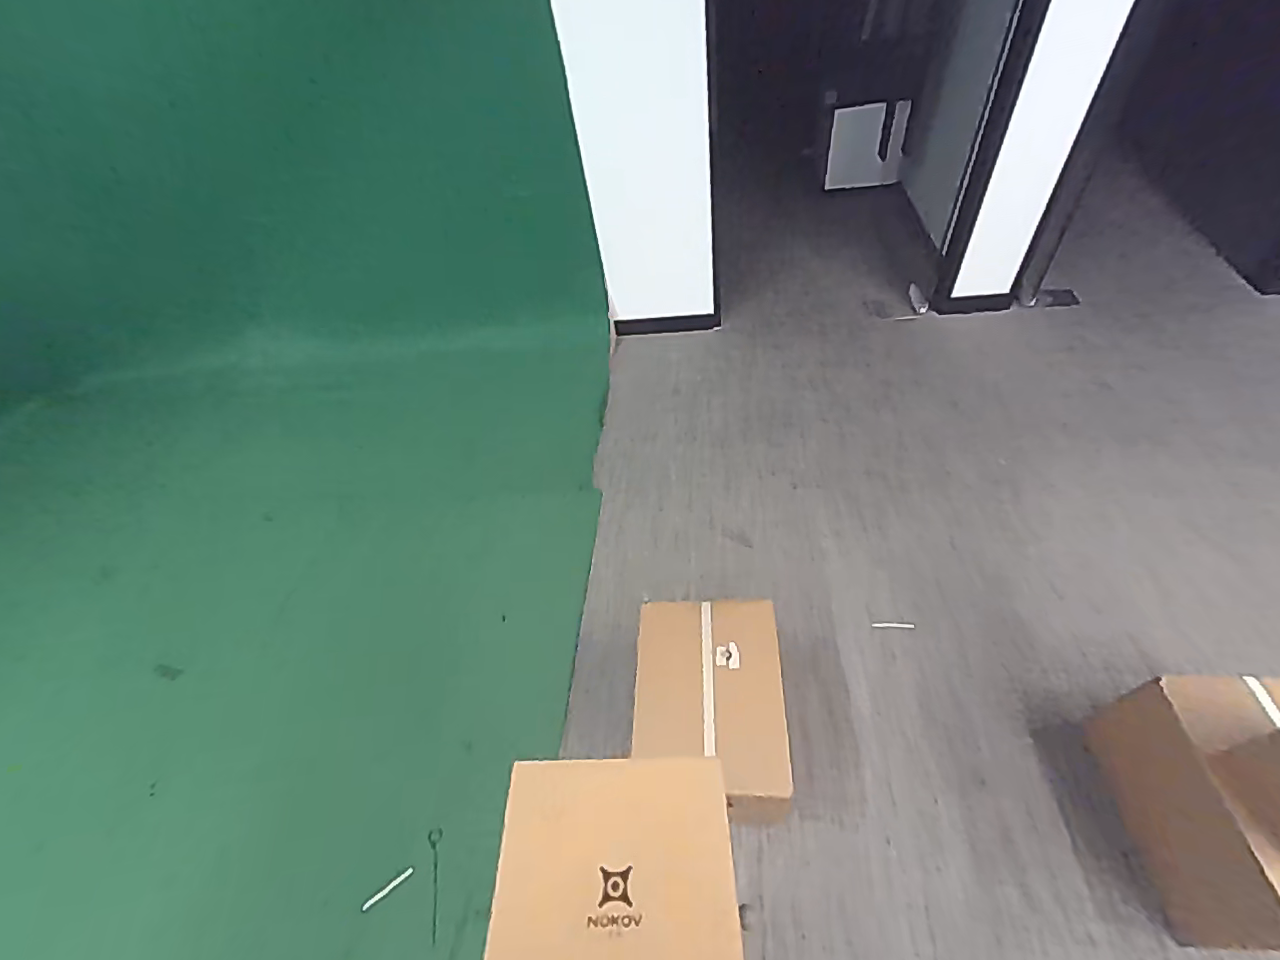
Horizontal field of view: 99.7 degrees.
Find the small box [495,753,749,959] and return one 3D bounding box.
[{"bbox_3d":[-0.011,0.339,0.428,0.168,0.176,0.179,-1,44,1],"label":"small box"}]

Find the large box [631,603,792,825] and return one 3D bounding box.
[{"bbox_3d":[0.164,0.542,1.256,0.320,0.320,0.408,-2,49,9],"label":"large box"}]
